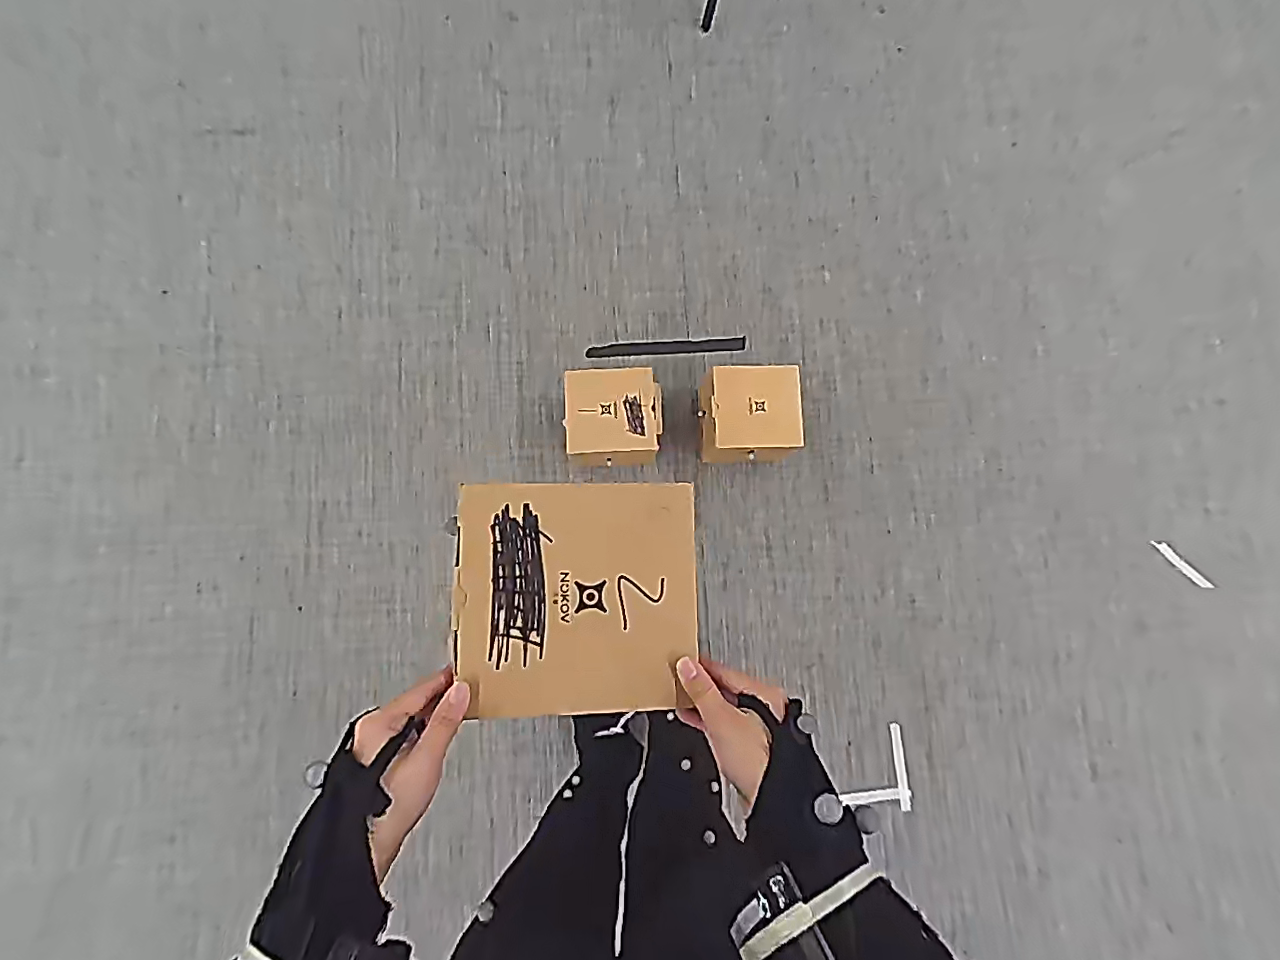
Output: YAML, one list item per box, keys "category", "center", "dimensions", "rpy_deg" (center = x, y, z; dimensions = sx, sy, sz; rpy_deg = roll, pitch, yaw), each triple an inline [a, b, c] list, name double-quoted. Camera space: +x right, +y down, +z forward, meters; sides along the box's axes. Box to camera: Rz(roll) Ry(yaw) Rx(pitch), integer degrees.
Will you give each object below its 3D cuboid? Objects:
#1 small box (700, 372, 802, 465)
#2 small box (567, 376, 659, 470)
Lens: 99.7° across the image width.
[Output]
- category: "small box"
  center: [0.227, -0.125, 1.140]
  dimensions: [0.179, 0.176, 0.168]
  rpy_deg: [-1, 83, -2]
- category: "small box"
  center: [-0.057, -0.113, 1.127]
  dimensions: [0.179, 0.176, 0.168]
  rpy_deg: [-3, 83, -2]
